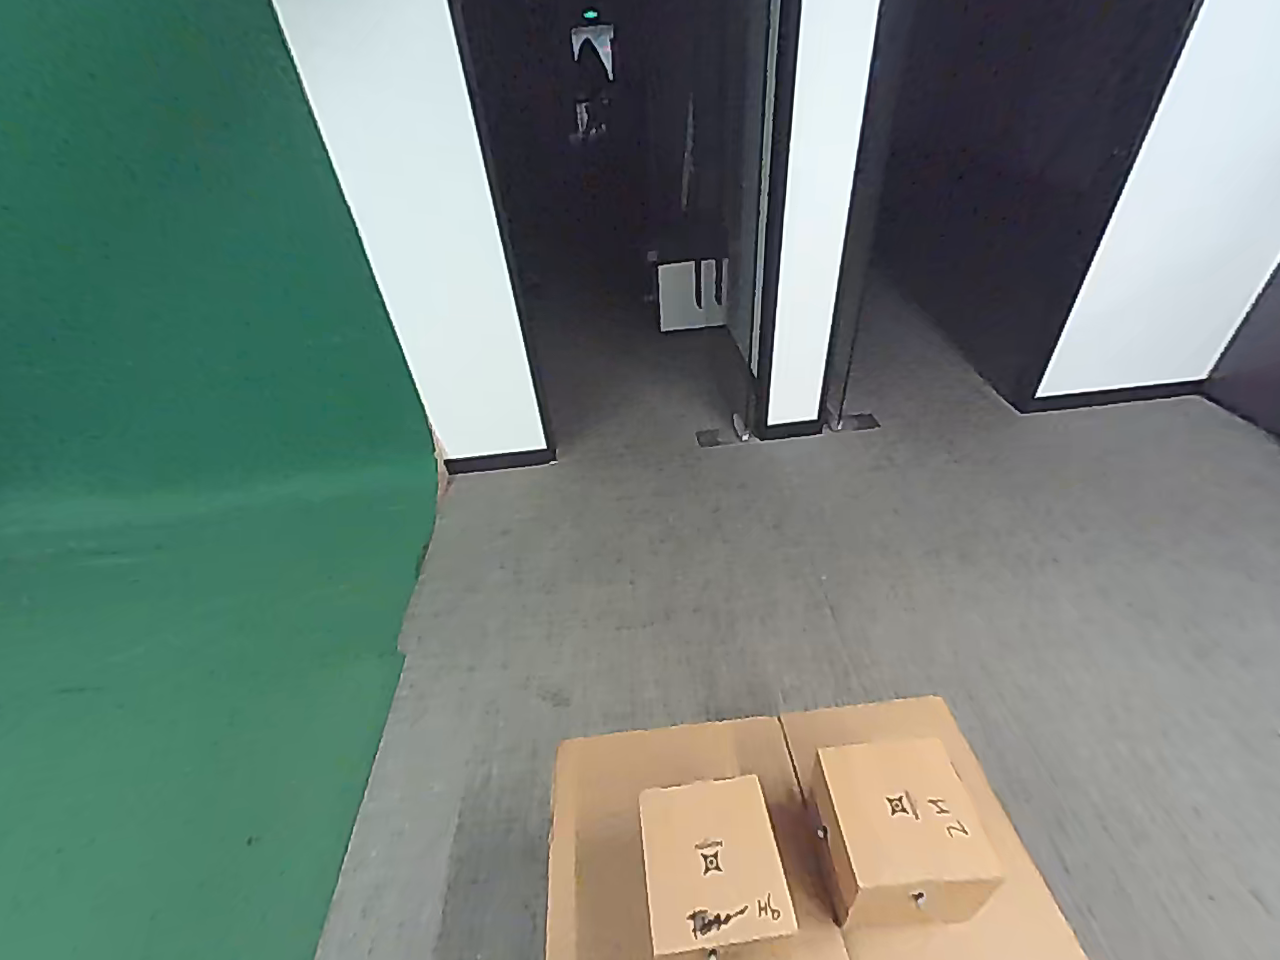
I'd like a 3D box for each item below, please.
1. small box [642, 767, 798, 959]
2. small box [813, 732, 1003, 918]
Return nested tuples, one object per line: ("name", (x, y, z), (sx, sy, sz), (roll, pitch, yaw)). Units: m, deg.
("small box", (0.096, 0.516, 0.714), (0.168, 0.176, 0.179), (-8, 37, -1))
("small box", (0.344, 0.471, 0.738), (0.179, 0.176, 0.168), (-6, 38, 2))
